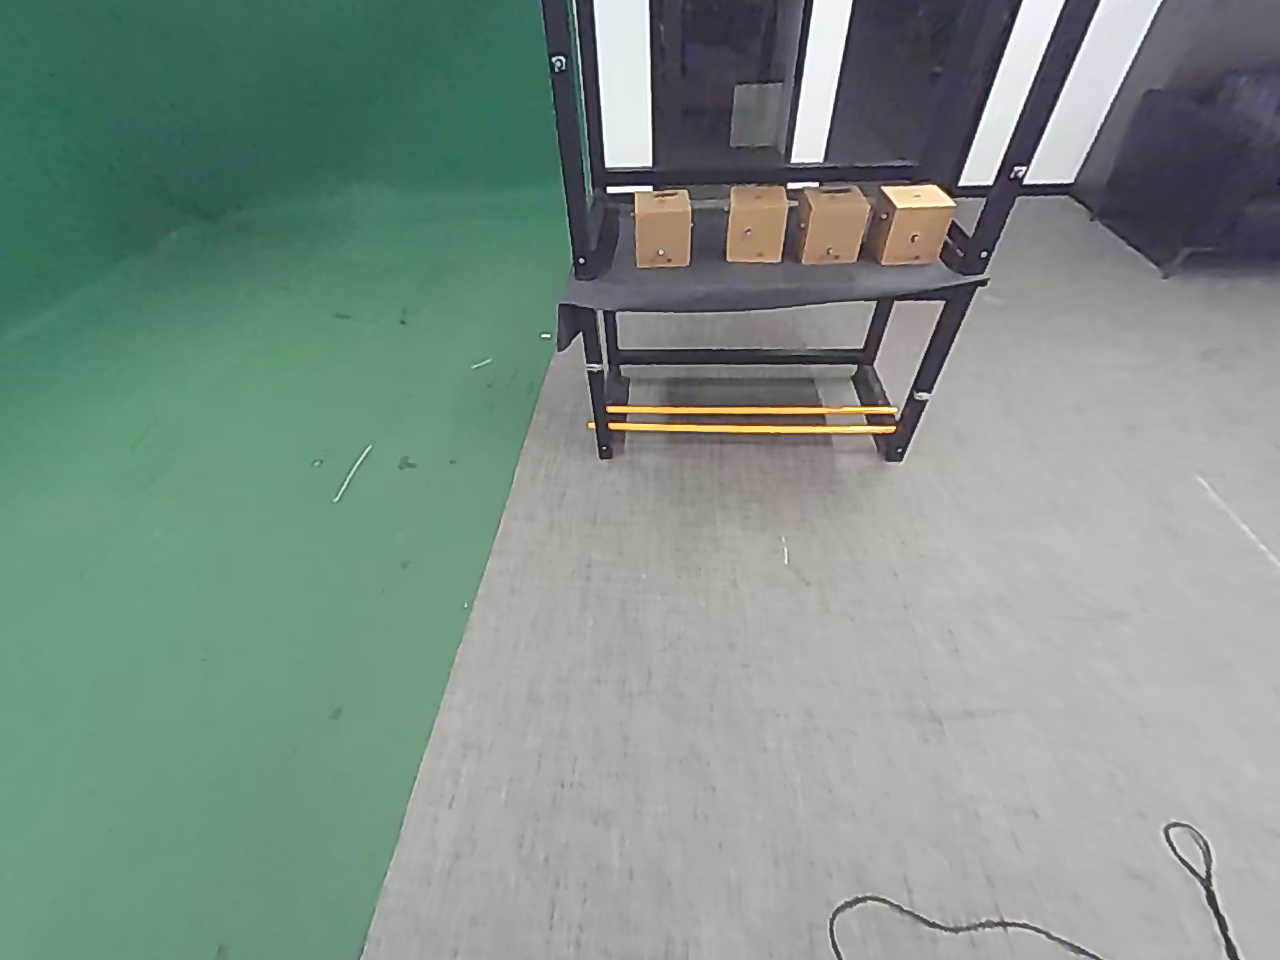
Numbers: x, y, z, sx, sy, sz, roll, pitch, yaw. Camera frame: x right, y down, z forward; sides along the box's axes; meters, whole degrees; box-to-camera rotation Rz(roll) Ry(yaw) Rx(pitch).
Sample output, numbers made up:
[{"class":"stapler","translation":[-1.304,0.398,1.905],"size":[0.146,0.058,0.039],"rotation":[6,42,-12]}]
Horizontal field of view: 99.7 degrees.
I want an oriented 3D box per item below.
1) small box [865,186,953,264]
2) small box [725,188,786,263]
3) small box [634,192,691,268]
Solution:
[{"class":"small box","translation":[0.799,-0.762,1.624],"size":[0.168,0.176,0.179],"rotation":[0,45,2]},{"class":"small box","translation":[0.355,-0.787,1.676],"size":[0.168,0.176,0.179],"rotation":[3,46,6]},{"class":"small box","translation":[0.066,-0.773,1.674],"size":[0.168,0.176,0.179],"rotation":[-2,47,1]}]
